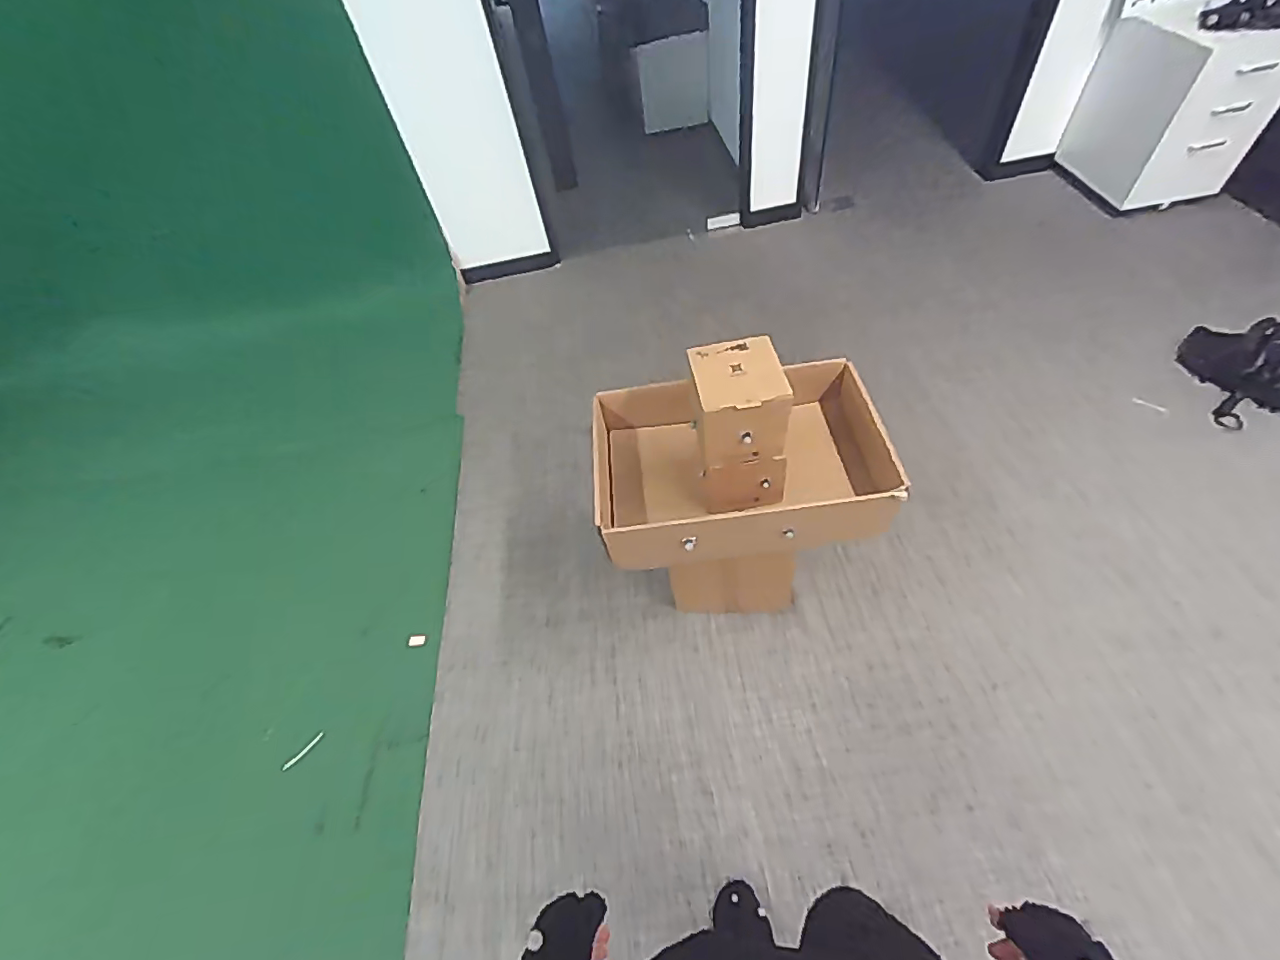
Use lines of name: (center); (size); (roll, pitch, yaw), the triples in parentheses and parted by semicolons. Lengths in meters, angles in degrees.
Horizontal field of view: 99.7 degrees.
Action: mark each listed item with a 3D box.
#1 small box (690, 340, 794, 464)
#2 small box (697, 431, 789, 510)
small box: (0.197, -0.148, 1.078); (0.168, 0.176, 0.179); (-9, 53, 1)
small box: (0.224, -0.048, 1.205); (0.168, 0.176, 0.179); (-9, 51, 1)
